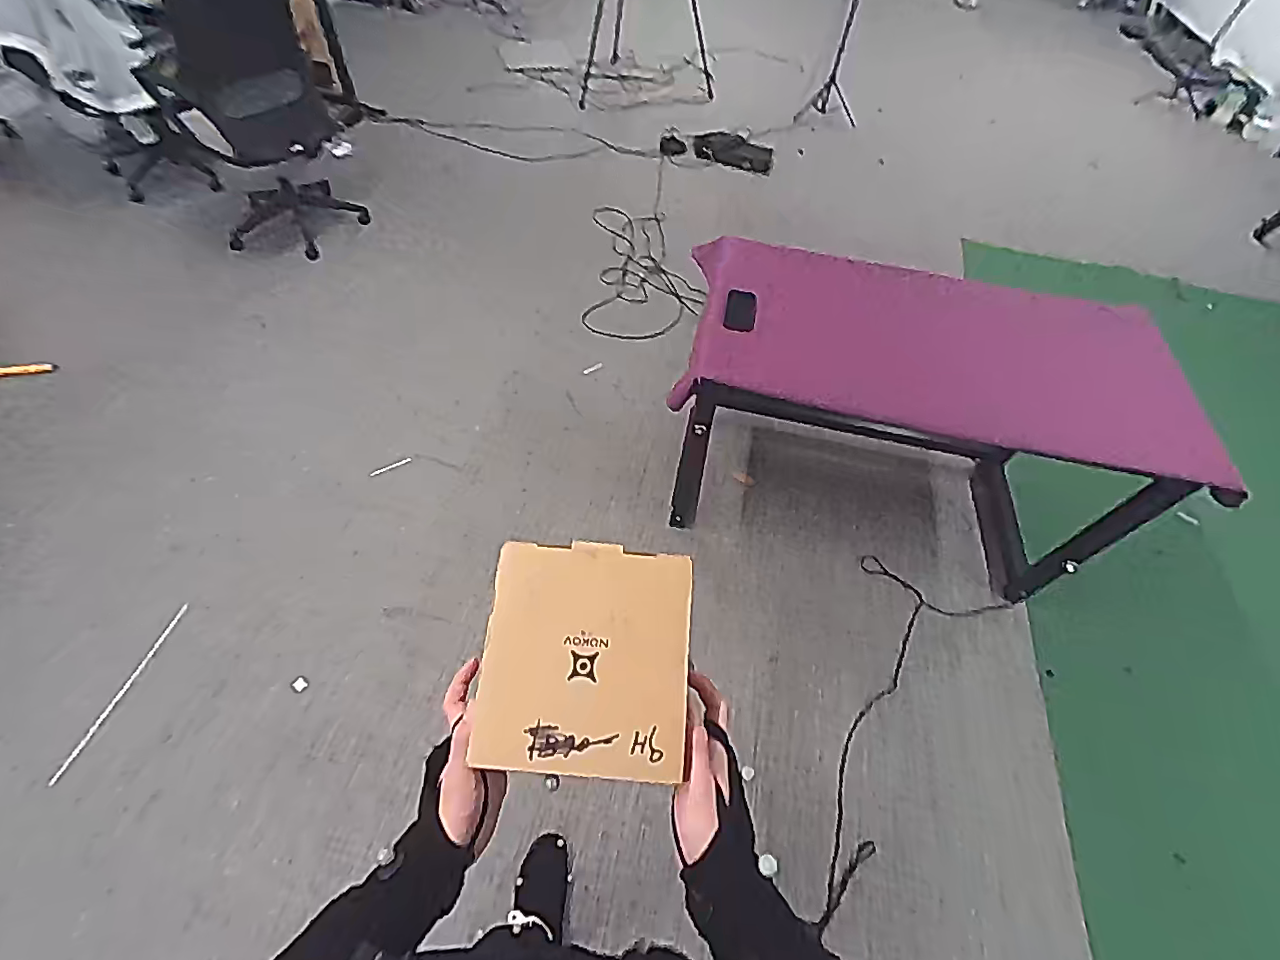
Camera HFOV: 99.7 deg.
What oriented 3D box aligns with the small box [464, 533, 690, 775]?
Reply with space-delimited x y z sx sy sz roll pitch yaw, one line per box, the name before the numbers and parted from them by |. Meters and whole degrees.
small box | -0.045 0.161 0.509 0.168 0.176 0.179 4 69 3
